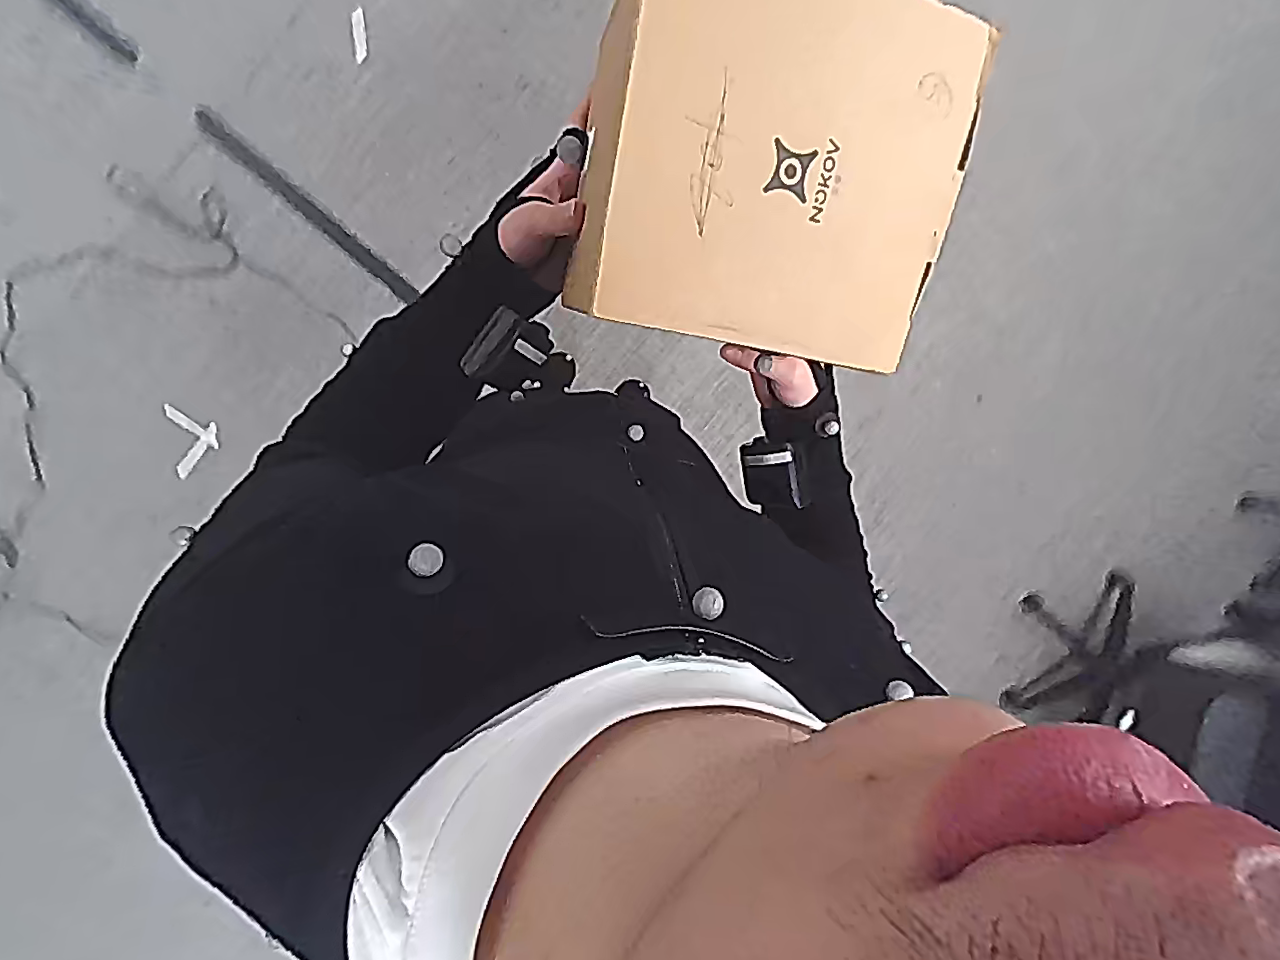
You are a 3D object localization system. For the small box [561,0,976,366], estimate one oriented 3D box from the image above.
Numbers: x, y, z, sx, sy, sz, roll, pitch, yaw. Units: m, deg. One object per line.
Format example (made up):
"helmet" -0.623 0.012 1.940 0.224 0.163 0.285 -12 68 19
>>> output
"small box" 0.052 -0.175 0.339 0.179 0.176 0.168 5 106 -14
